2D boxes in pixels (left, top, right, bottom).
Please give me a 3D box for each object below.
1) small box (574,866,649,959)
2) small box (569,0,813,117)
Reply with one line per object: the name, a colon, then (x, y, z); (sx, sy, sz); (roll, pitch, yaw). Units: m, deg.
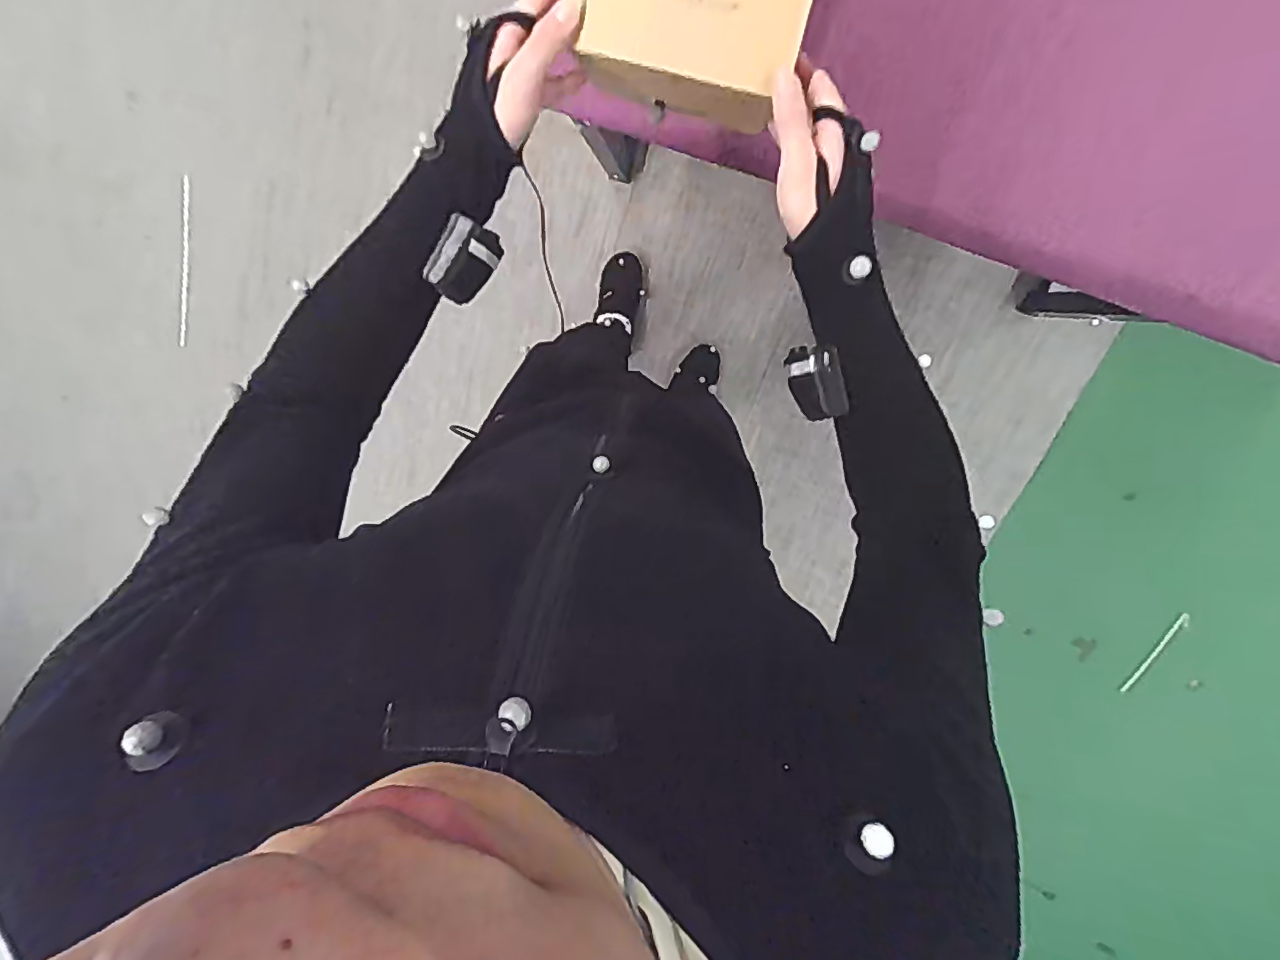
small box: (-0.077, 1.282, 1.578); (0.168, 0.176, 0.179); (20, 109, -4)
small box: (0.053, -0.412, 0.417); (0.168, 0.176, 0.179); (14, 117, -2)
